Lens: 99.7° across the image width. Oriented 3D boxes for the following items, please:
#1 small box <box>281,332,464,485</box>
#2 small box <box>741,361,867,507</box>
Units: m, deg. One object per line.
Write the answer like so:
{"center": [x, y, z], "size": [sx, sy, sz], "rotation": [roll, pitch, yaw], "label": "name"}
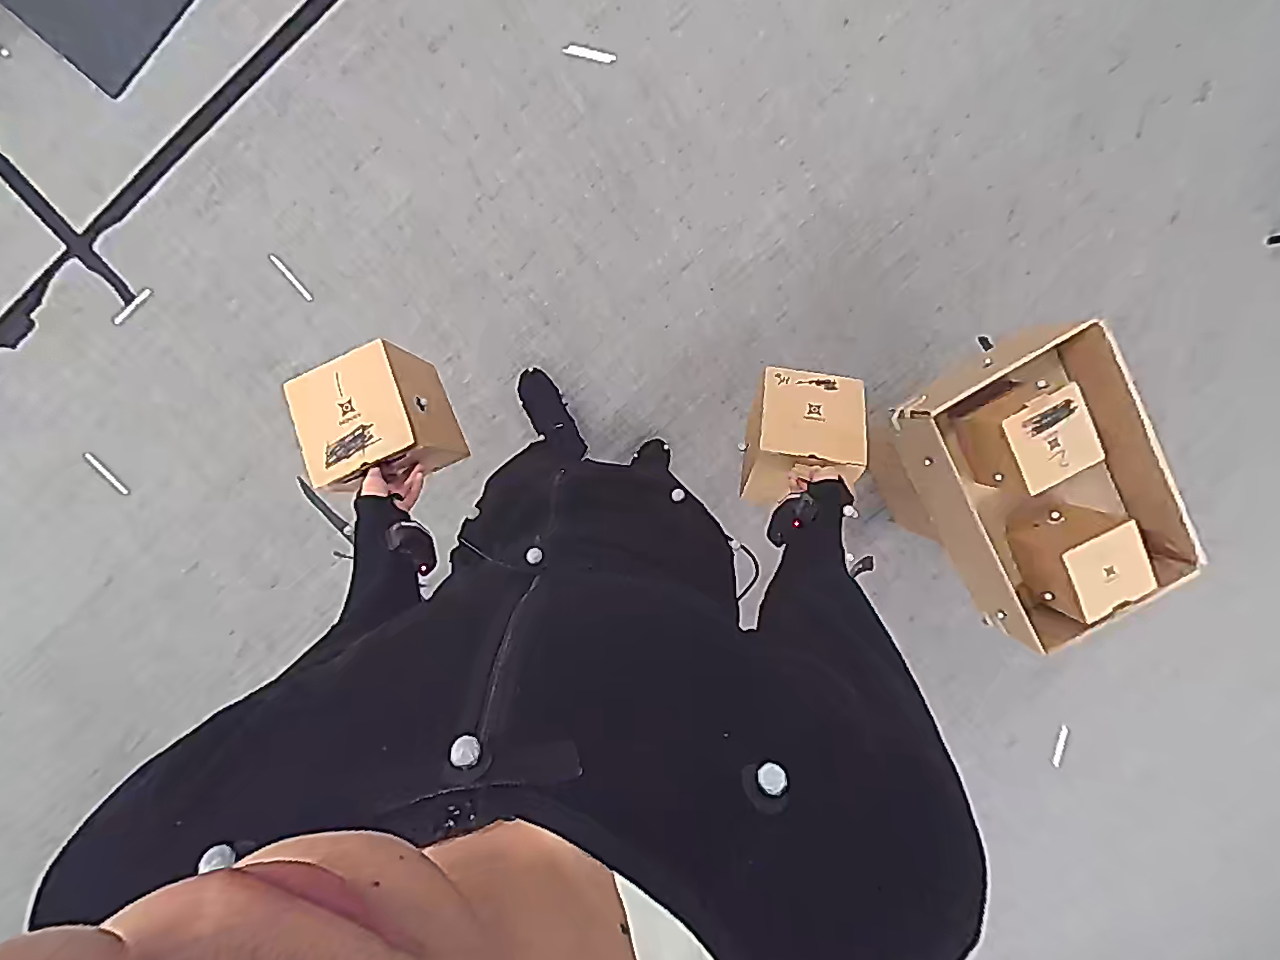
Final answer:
{"center": [-0.407, -0.102, 0.852], "size": [0.168, 0.176, 0.179], "rotation": [-23, 85, 4], "label": "small box"}
{"center": [0.273, -0.072, 0.924], "size": [0.168, 0.176, 0.179], "rotation": [11, 62, 4], "label": "small box"}
